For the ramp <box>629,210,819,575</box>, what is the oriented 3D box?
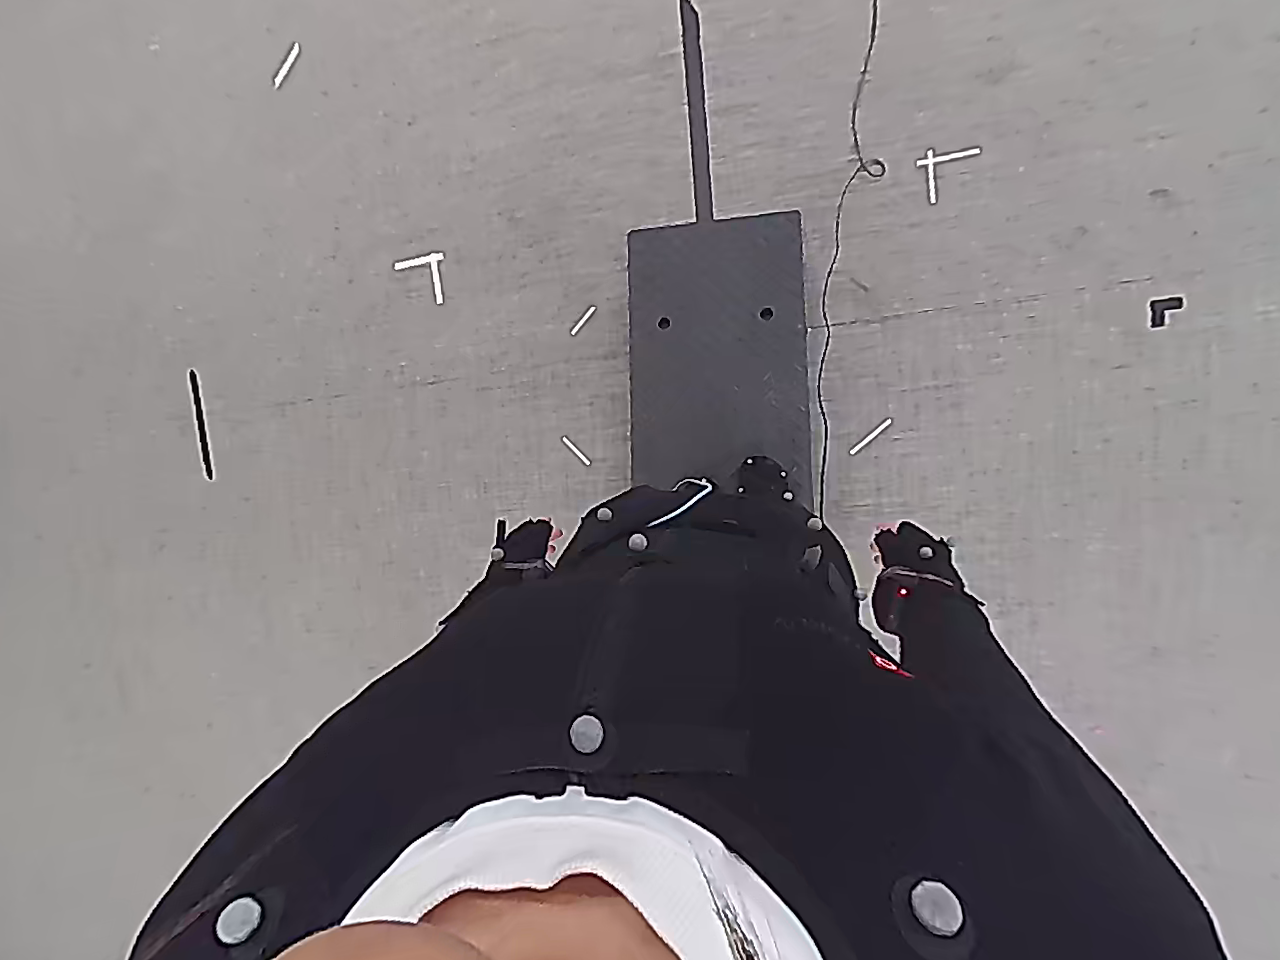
[{"bbox_3d":[0.212,-0.243,1.495,0.509,0.206,0.991,-4,93,12],"label":"ramp"}]
